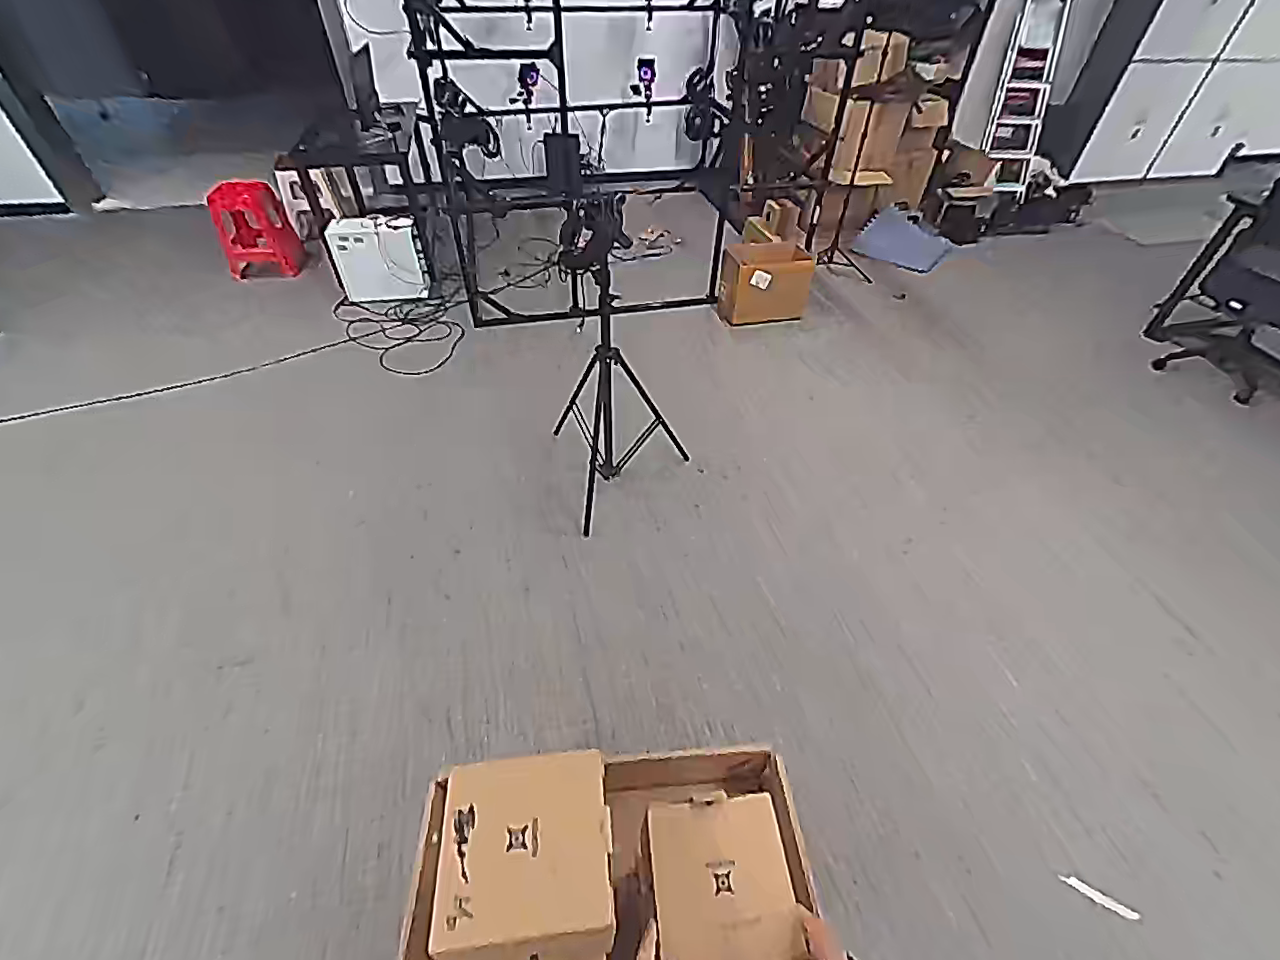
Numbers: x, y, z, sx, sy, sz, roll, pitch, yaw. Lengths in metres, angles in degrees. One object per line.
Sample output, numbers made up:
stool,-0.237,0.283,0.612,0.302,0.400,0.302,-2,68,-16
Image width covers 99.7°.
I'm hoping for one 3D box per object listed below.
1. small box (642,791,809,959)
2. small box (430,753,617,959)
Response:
small box,0.094,0.530,0.699,0.168,0.176,0.179,-2,44,-6
small box,-0.122,0.436,0.622,0.179,0.176,0.168,-2,43,-7
